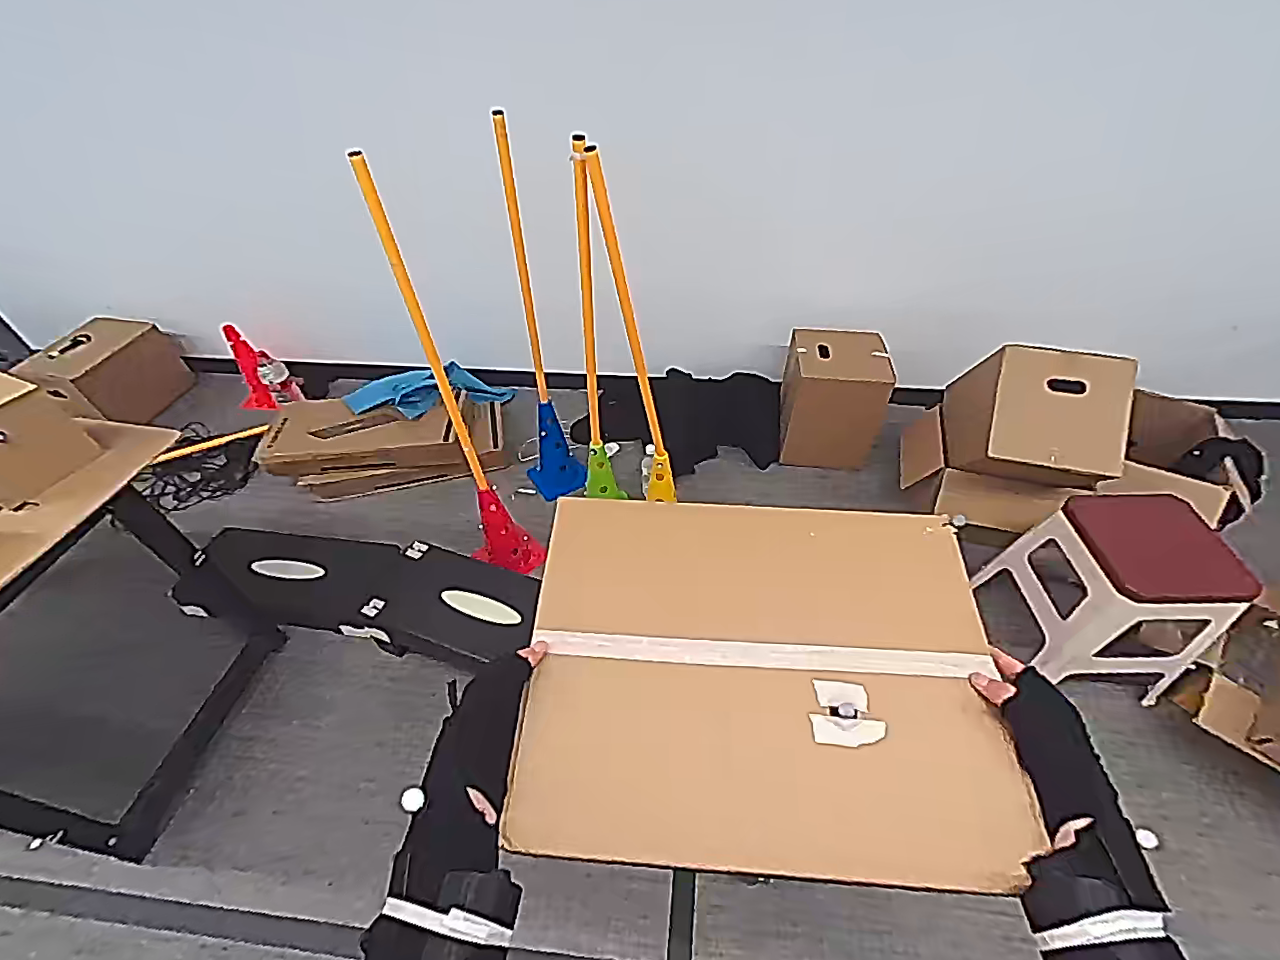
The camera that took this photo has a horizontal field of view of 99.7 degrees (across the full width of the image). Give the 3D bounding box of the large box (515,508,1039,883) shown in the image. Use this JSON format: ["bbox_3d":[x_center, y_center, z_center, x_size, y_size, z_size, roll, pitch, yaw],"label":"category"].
[{"bbox_3d":[0.108,0.249,0.613,0.408,0.320,0.320,3,56,3],"label":"large box"}]
